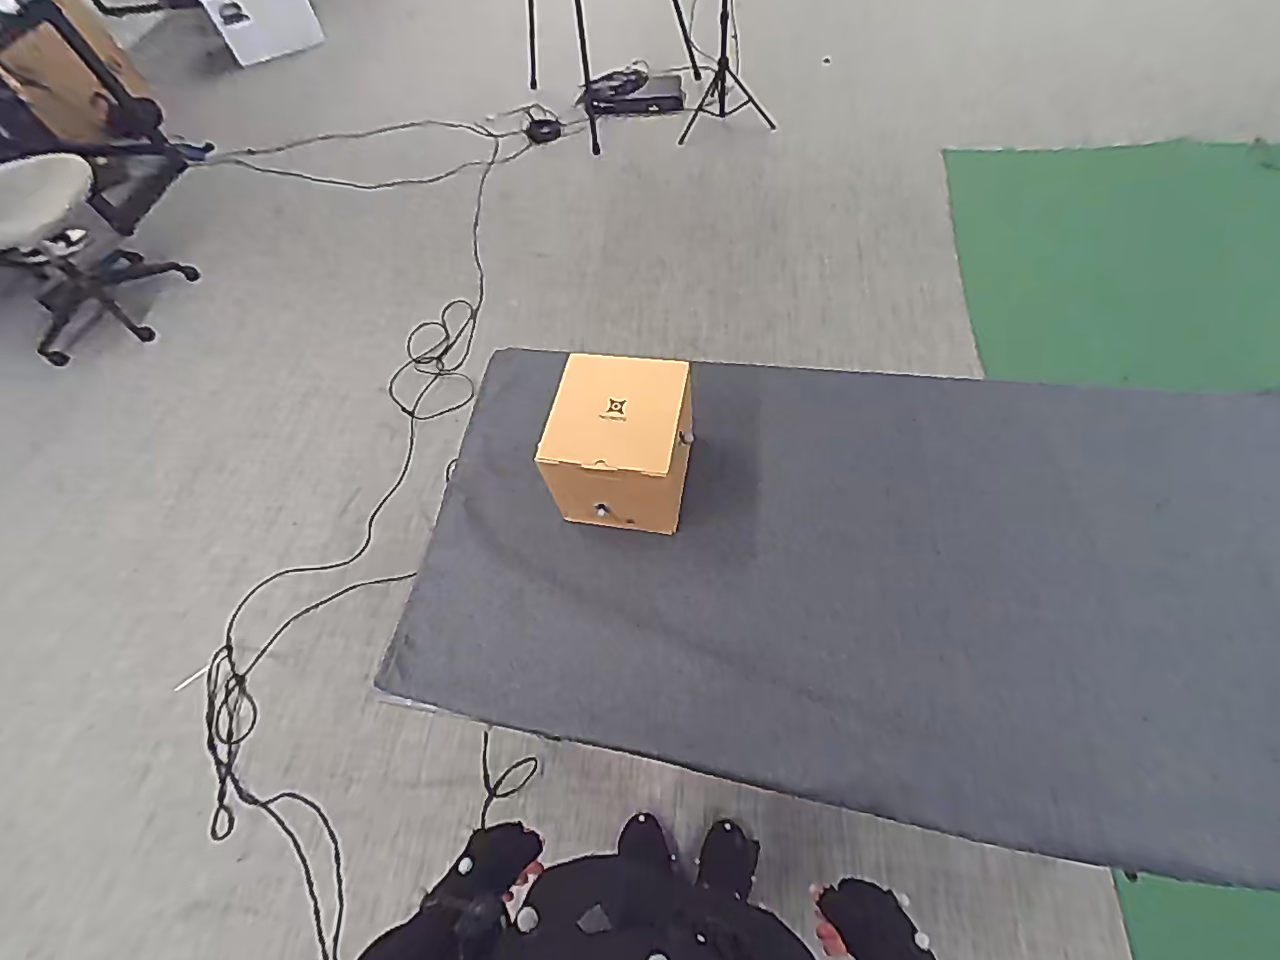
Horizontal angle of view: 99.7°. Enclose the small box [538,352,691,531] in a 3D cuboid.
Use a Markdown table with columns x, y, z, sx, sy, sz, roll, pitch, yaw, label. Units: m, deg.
| x | y | z | sx | sy | sz | roll | pitch | yaw | label |
| --- | --- | --- | --- | --- | --- | --- | --- | --- | --- |
| -0.023 | -0.050 | 0.750 | 0.168 | 0.176 | 0.179 | 6 | 62 | 10 | small box |
